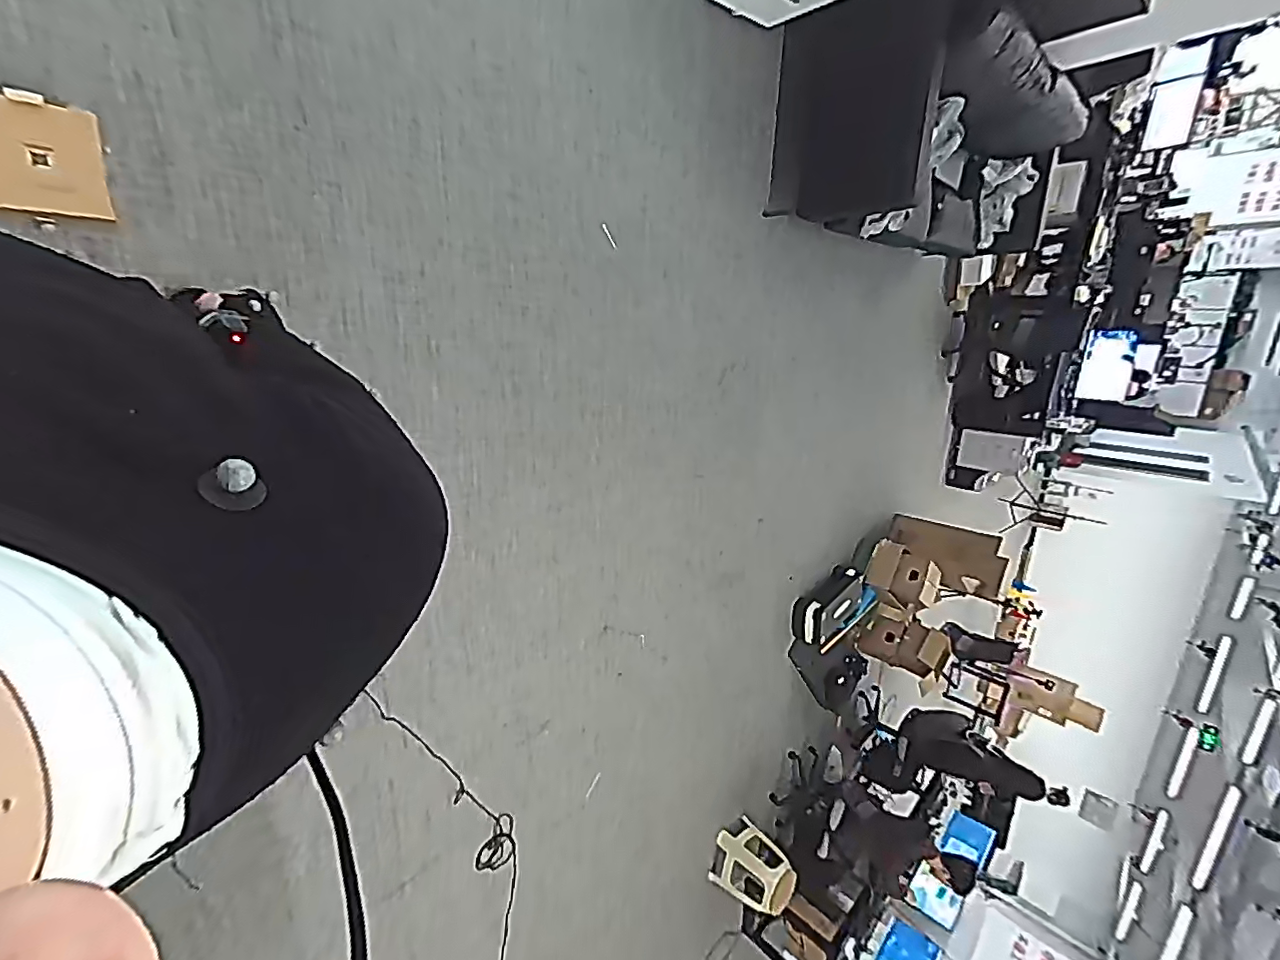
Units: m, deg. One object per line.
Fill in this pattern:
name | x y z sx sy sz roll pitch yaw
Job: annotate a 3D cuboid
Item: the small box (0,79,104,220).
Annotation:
small box | -1.063 -0.569 0.939 0.168 0.176 0.179 -10 110 -42
